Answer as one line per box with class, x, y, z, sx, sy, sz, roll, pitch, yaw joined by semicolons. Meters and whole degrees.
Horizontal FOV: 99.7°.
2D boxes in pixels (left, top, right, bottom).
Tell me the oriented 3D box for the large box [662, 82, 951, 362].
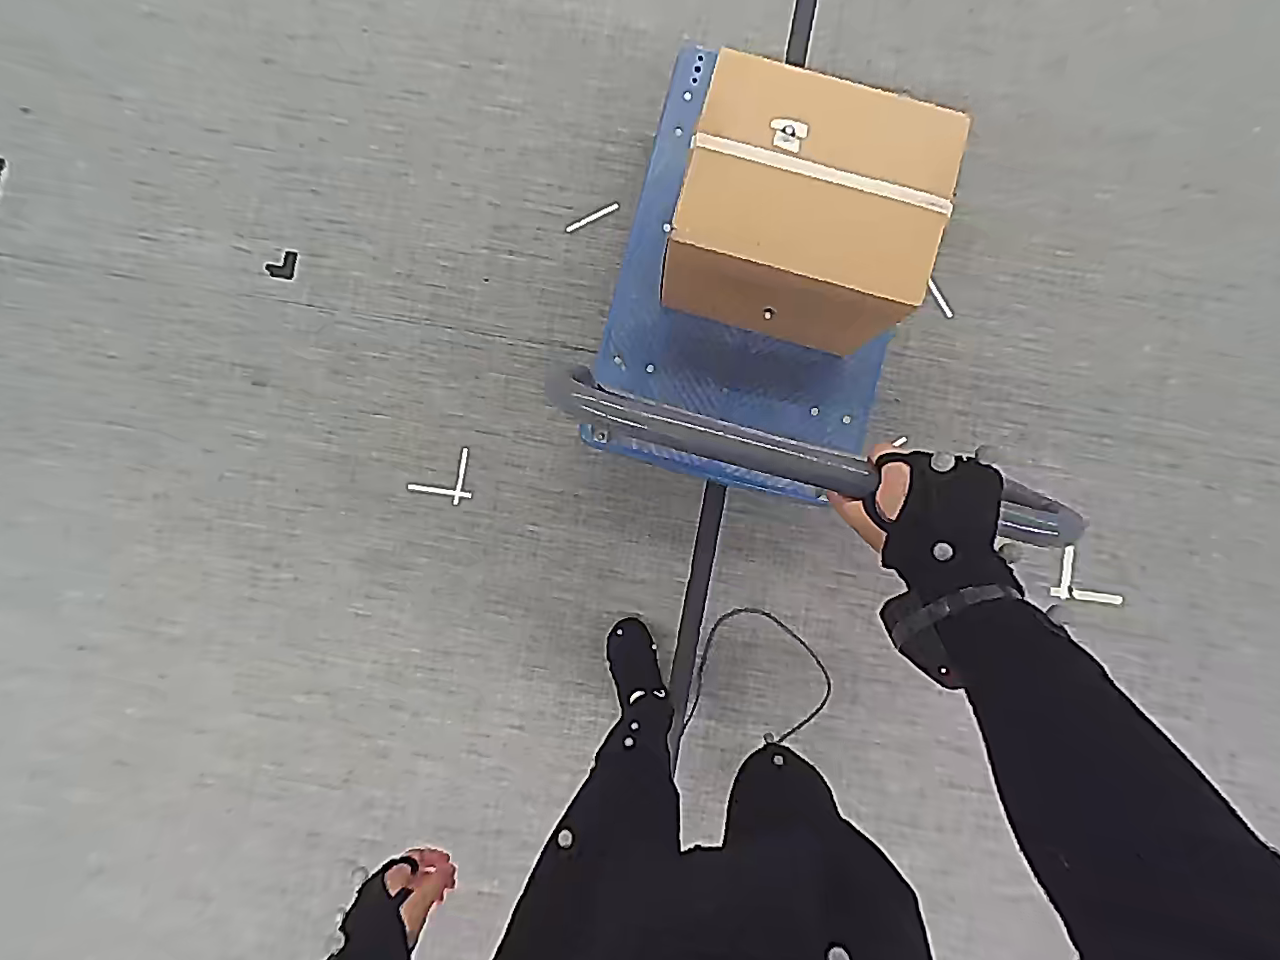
large box;0.274;-0.444;1.010;0.408;0.320;0.320;15;88;1
